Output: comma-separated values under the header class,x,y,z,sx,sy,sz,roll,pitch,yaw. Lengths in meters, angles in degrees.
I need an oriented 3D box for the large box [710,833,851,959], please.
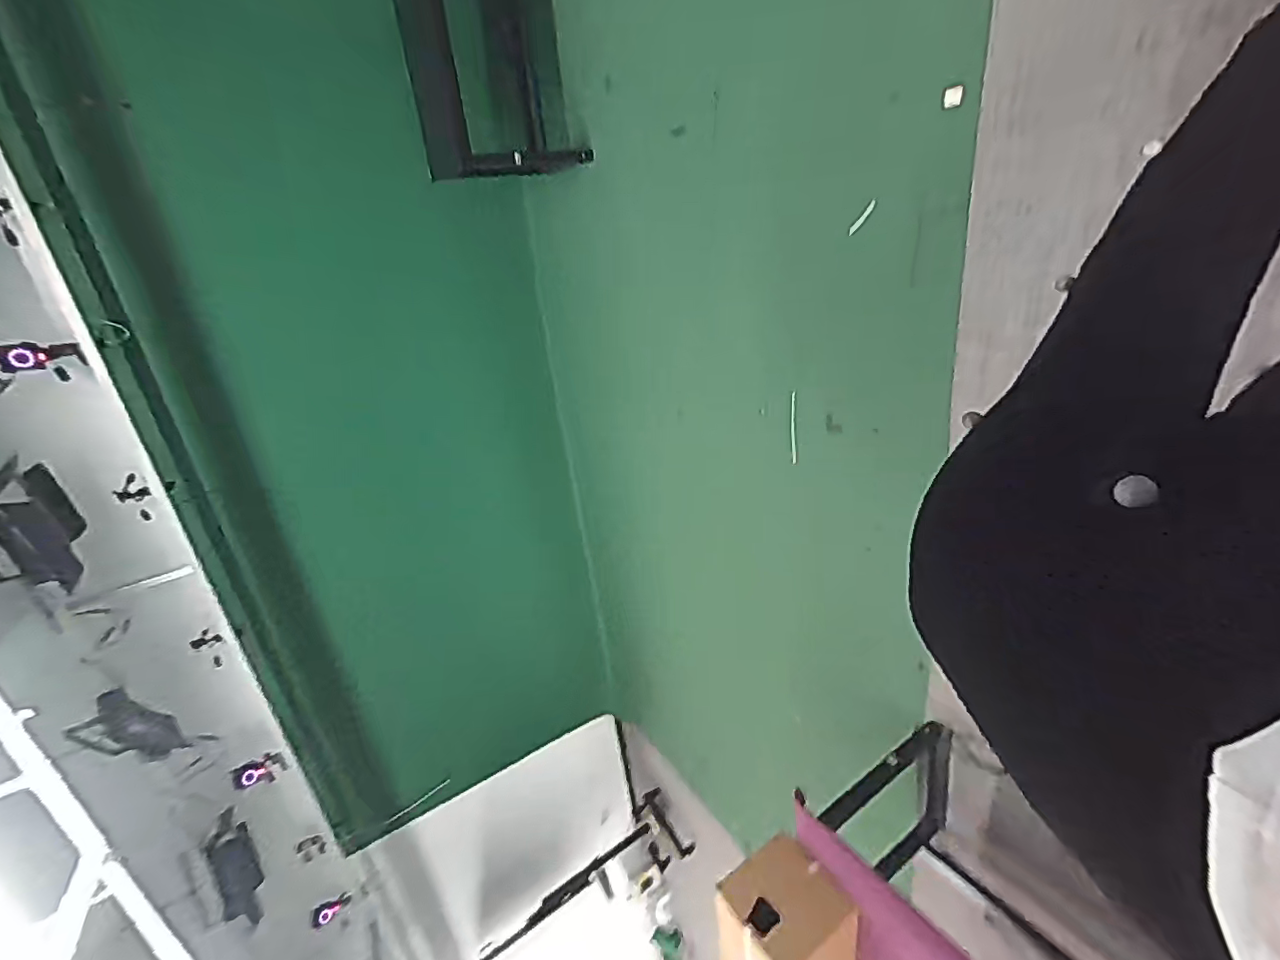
class,x,y,z,sx,sy,sz,roll,pitch,yaw
large box,0.452,1.468,1.735,0.320,0.320,0.408,24,126,52
